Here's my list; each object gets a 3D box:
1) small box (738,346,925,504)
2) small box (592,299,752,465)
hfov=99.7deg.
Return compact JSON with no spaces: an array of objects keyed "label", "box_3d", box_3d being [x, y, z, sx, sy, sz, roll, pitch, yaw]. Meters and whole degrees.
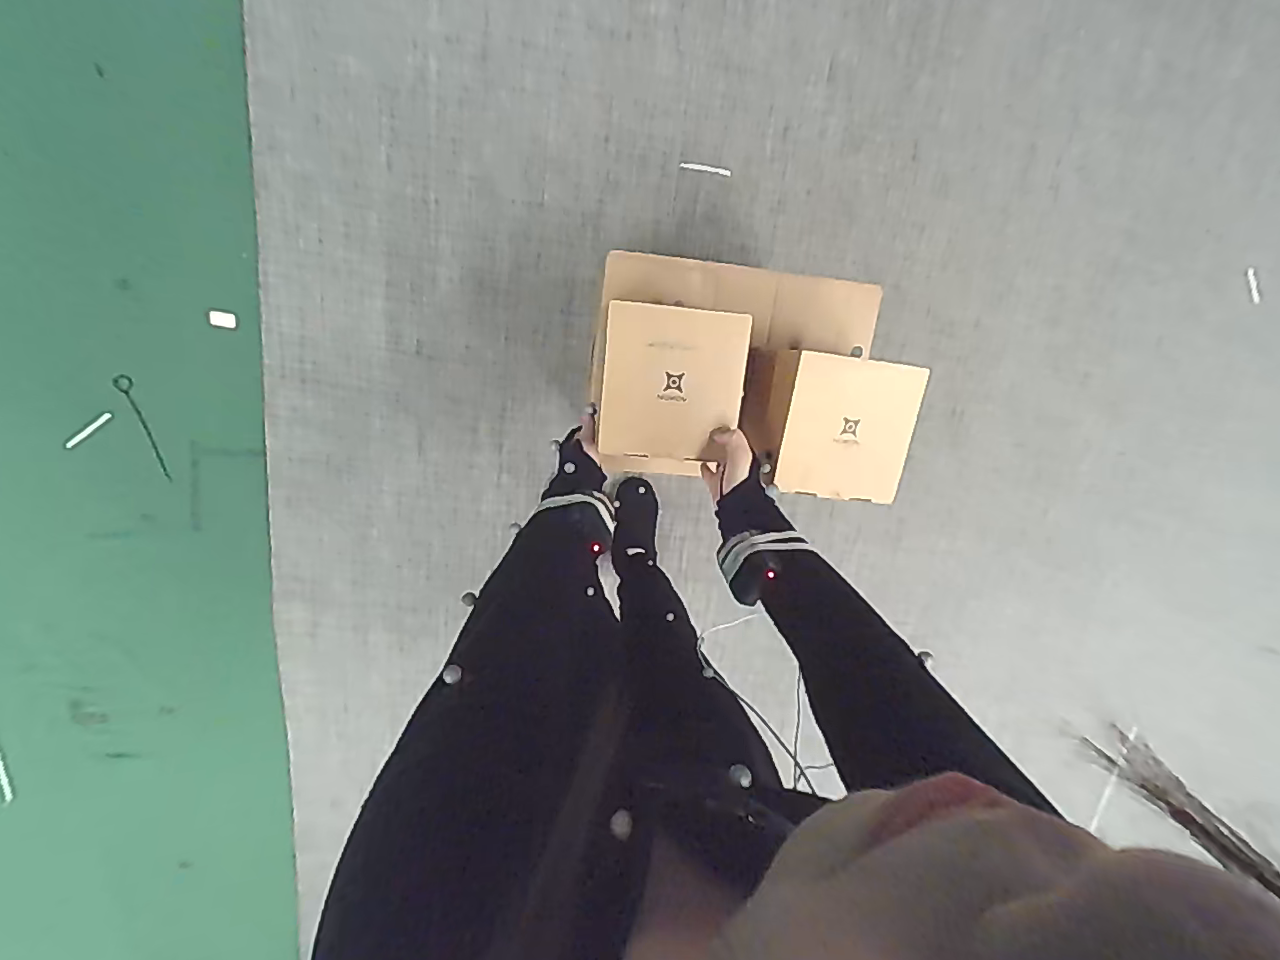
[{"label":"small box","box_3d":[0.245,-0.083,0.739,0.168,0.176,0.179,7,106,-8]},{"label":"small box","box_3d":[0.028,-0.129,0.698,0.168,0.176,0.179,5,105,-9]}]
